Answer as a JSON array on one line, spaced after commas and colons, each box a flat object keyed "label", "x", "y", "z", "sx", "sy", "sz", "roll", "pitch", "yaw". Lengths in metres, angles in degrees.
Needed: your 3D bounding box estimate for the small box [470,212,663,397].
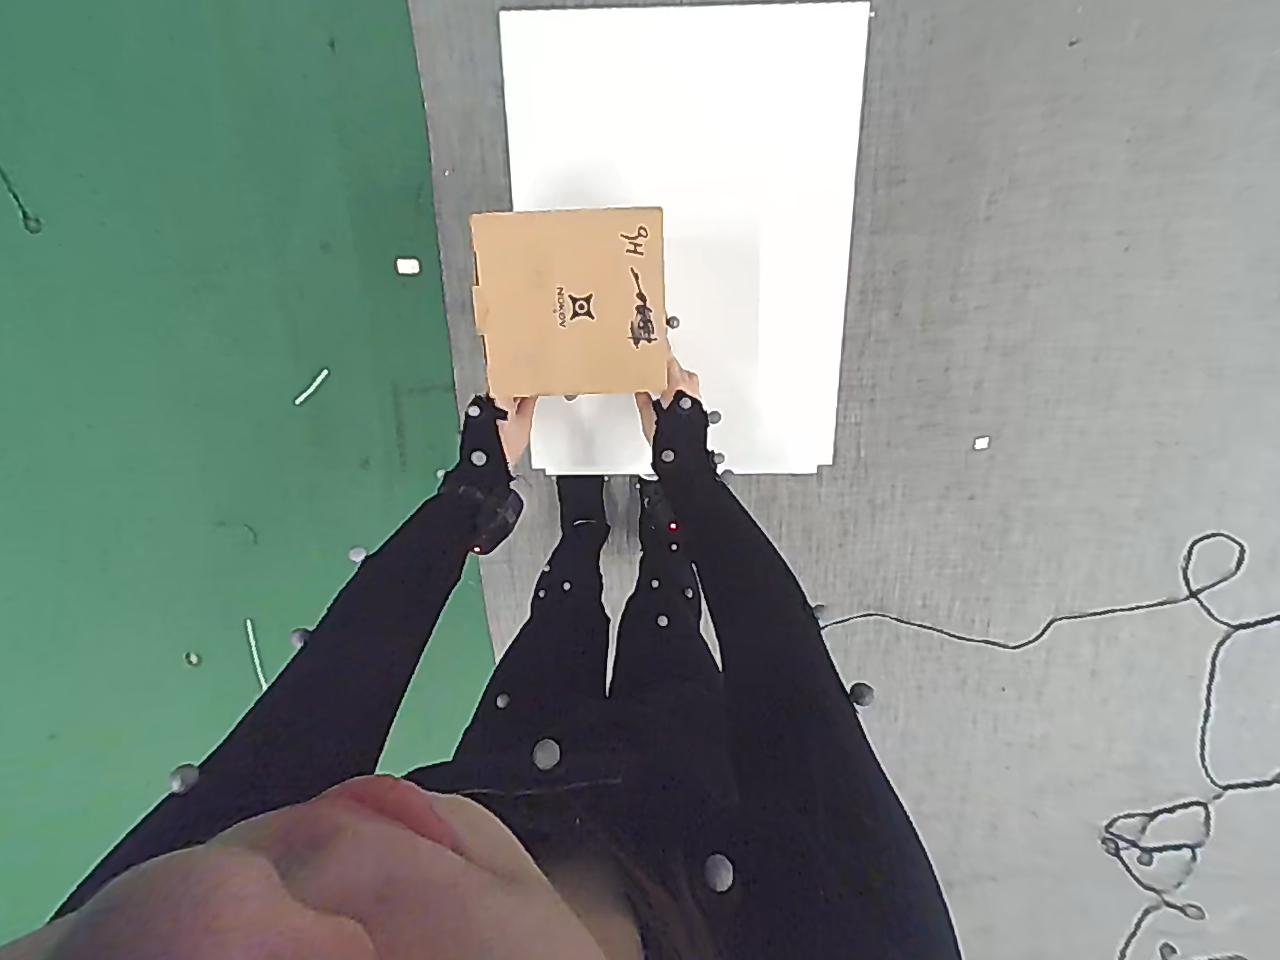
[{"label": "small box", "x": -0.065, "y": -0.181, "z": 0.582, "sx": 0.179, "sy": 0.176, "sz": 0.168, "roll": -2, "pitch": 106, "yaw": 0}]
